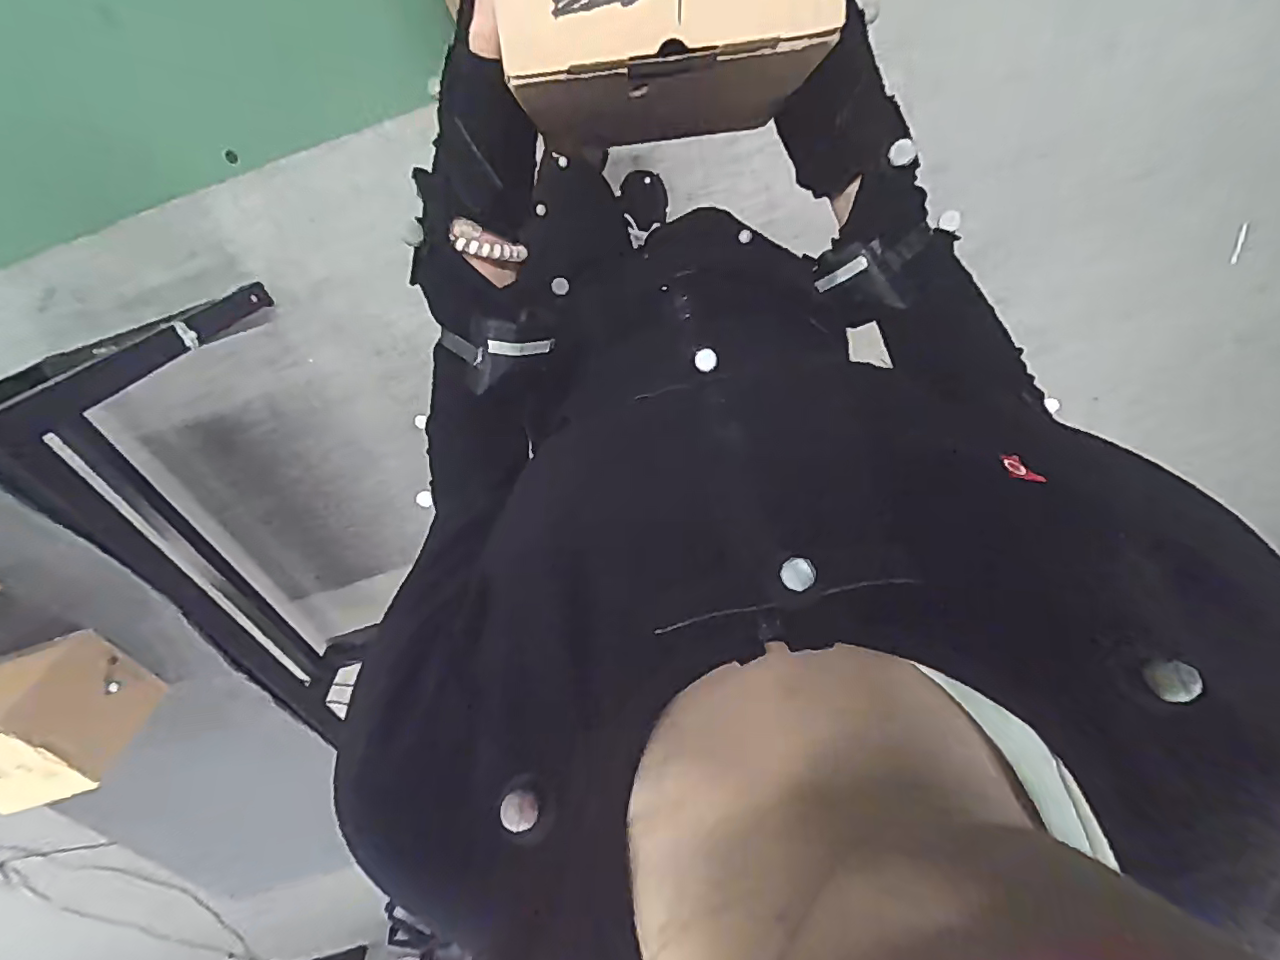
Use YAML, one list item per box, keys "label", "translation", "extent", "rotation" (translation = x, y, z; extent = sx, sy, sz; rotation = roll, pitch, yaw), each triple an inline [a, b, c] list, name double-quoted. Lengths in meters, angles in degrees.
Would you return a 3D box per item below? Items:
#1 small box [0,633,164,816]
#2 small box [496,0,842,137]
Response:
- label: "small box"
  translation: [-0.889, 0.361, 0.809]
  extent: [0.179, 0.176, 0.168]
  rotation: [-18, 124, 5]
- label: "small box"
  translation: [0.007, -0.314, 0.306]
  extent: [0.168, 0.176, 0.179]
  rotation: [-6, 110, 1]
